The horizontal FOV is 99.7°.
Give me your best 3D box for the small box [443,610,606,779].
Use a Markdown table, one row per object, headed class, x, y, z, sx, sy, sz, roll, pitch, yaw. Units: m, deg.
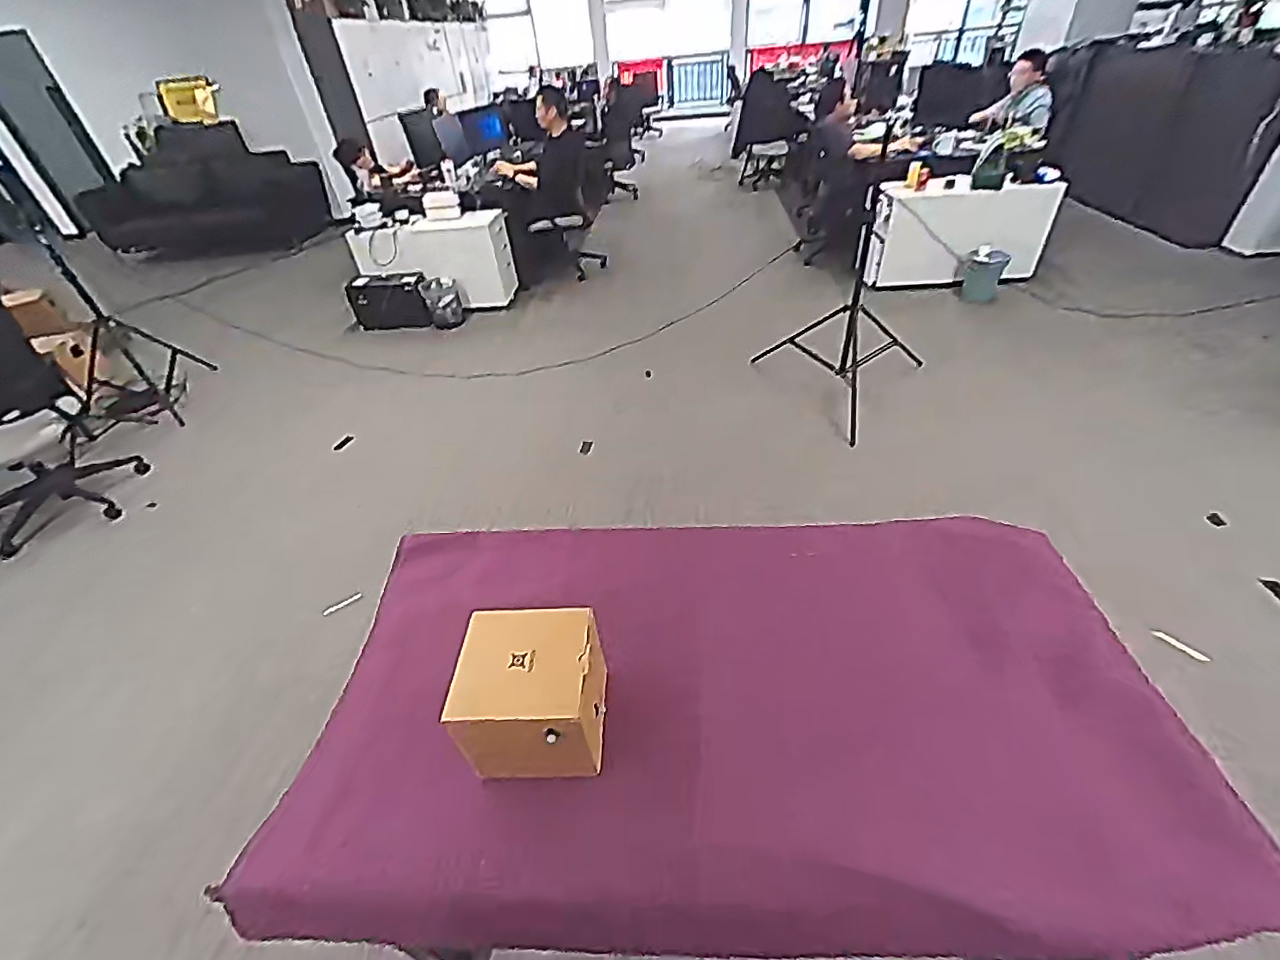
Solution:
| class | x | y | z | sx | sy | sz | roll | pitch | yaw |
| --- | --- | --- | --- | --- | --- | --- | --- | --- | --- |
| small box | -0.149 | 0.304 | 0.766 | 0.179 | 0.176 | 0.168 | -3 | 39 | 3 |
